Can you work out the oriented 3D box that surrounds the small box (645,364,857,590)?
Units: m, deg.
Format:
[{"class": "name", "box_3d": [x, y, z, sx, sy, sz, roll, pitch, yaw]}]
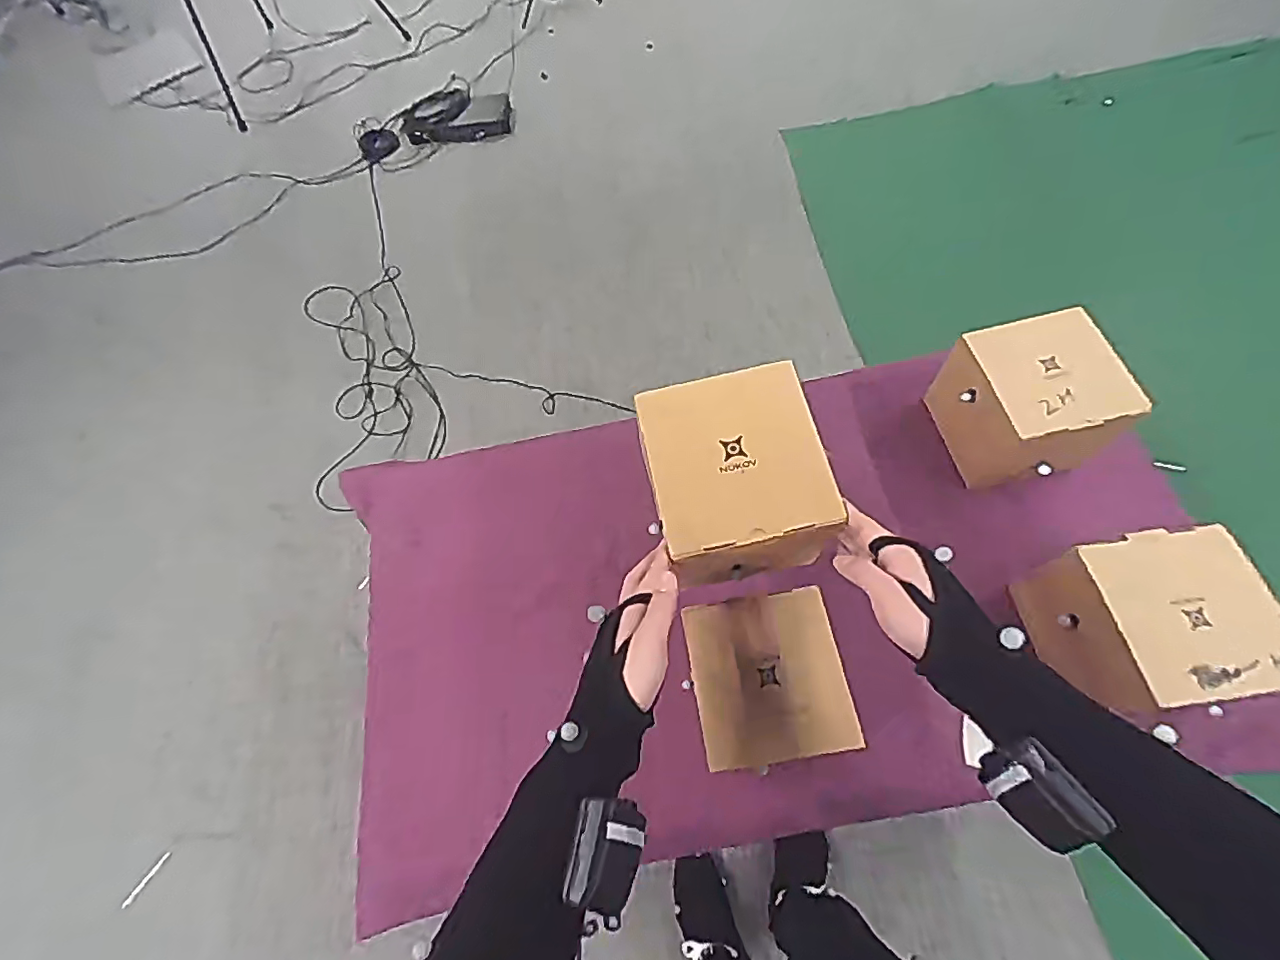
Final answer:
[{"class": "small box", "box_3d": [0.104, 0.006, 0.585, 0.168, 0.176, 0.179, -13, 69, 0]}]

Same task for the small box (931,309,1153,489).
[{"class": "small box", "box_3d": [0.556, -0.110, 0.784, 0.168, 0.176, 0.179, -13, 64, 4]}]

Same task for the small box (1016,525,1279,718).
[{"class": "small box", "box_3d": [0.599, 0.175, 0.646, 0.168, 0.176, 0.179, -10, 62, 4]}]
